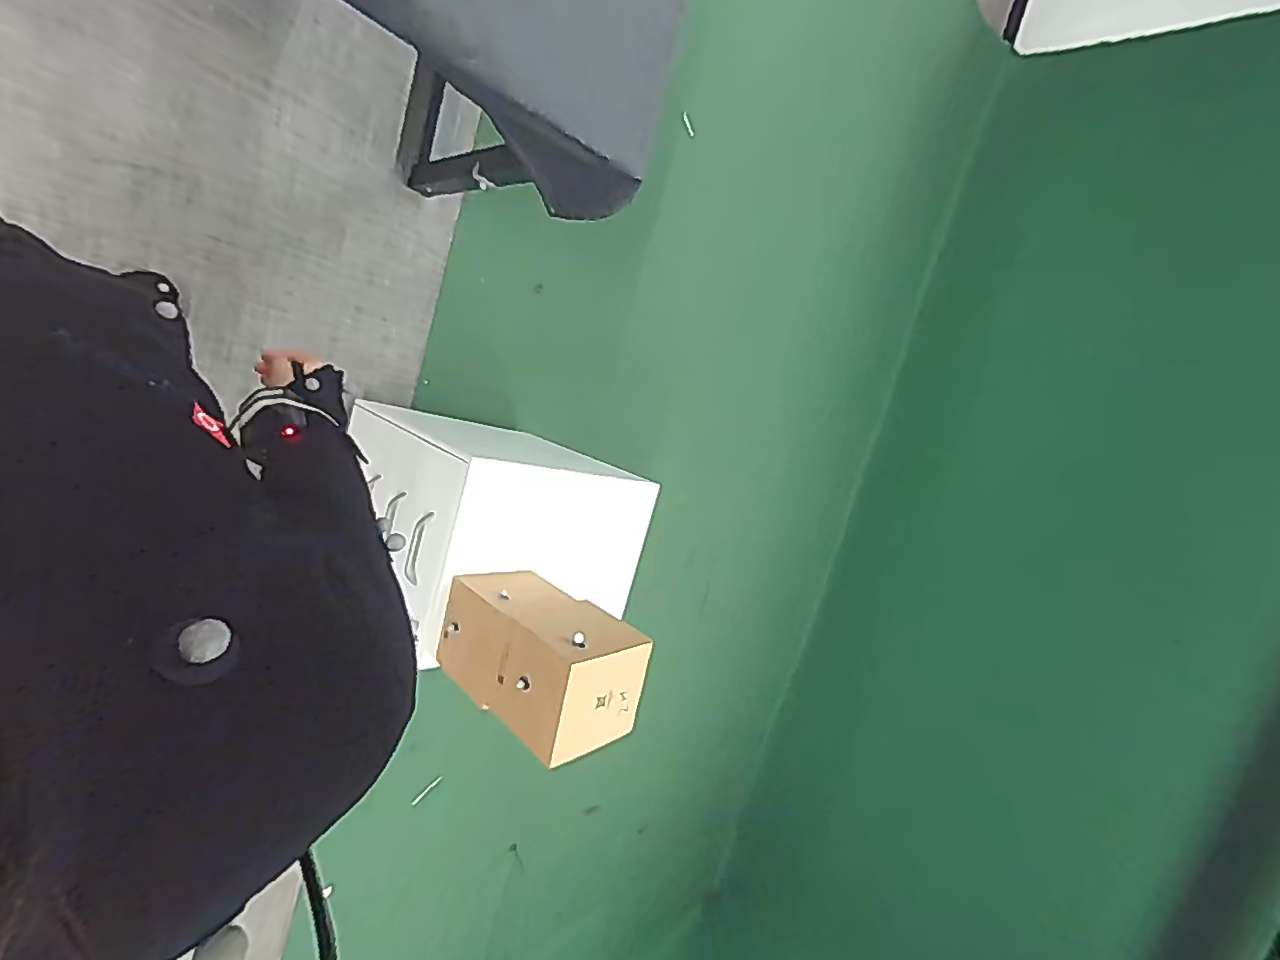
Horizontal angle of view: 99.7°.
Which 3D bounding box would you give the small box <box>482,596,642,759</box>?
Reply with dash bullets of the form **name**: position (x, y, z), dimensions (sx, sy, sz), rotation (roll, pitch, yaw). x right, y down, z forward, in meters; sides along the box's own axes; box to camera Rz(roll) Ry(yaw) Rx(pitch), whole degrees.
- **small box**: position (-0.129, 0.302, 0.870), dimensions (0.179, 0.176, 0.168), rotation (3, 104, -49)
